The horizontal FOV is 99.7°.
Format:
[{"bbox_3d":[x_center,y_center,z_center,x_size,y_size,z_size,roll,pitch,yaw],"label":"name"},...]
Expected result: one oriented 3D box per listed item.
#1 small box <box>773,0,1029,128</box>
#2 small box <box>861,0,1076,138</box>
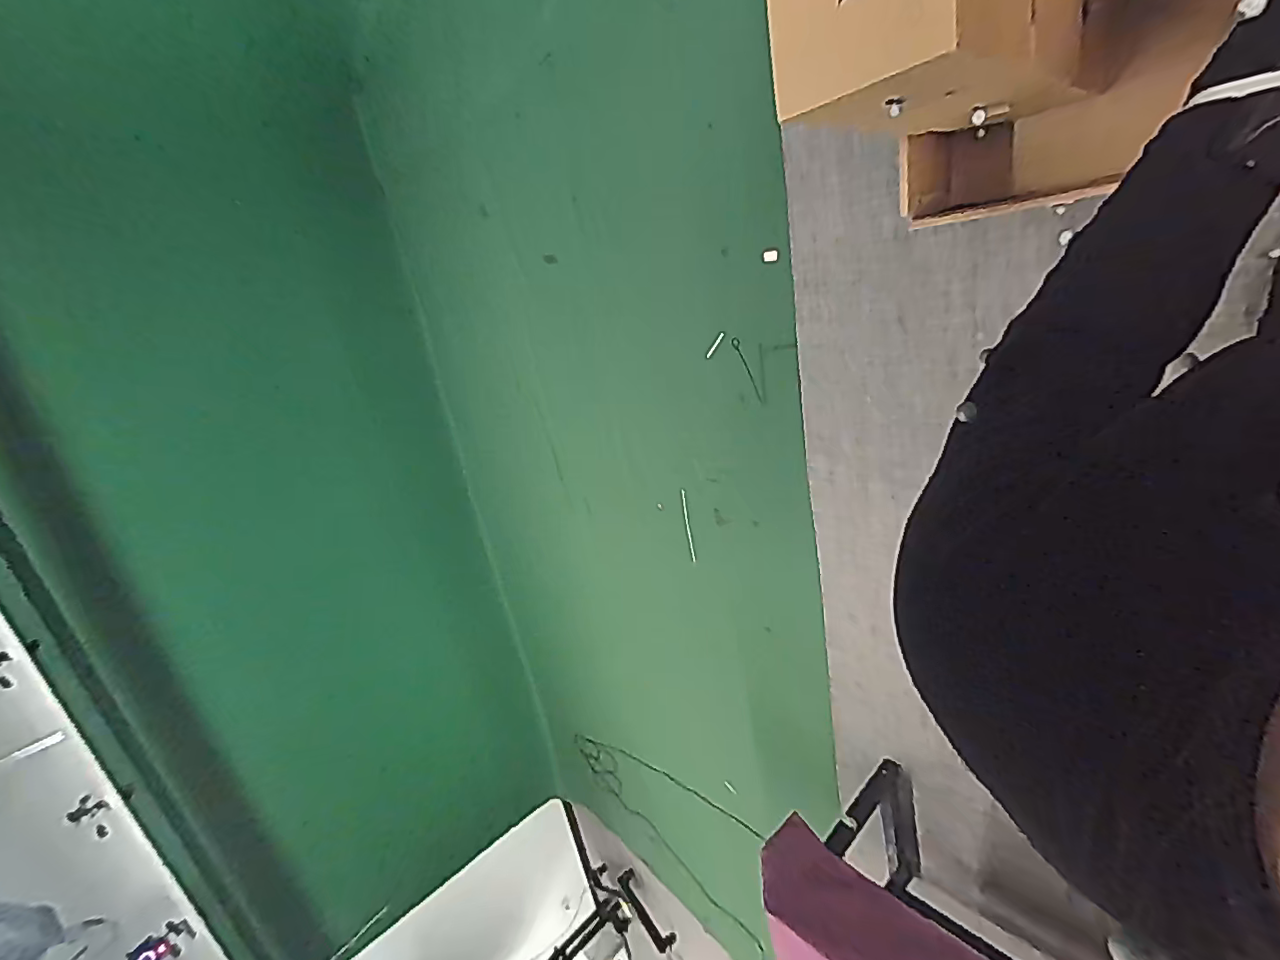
[{"bbox_3d":[0.242,-0.449,0.500,0.168,0.176,0.179,14,119,48],"label":"small box"},{"bbox_3d":[0.363,-0.502,0.600,0.179,0.176,0.168,10,117,48],"label":"small box"}]
